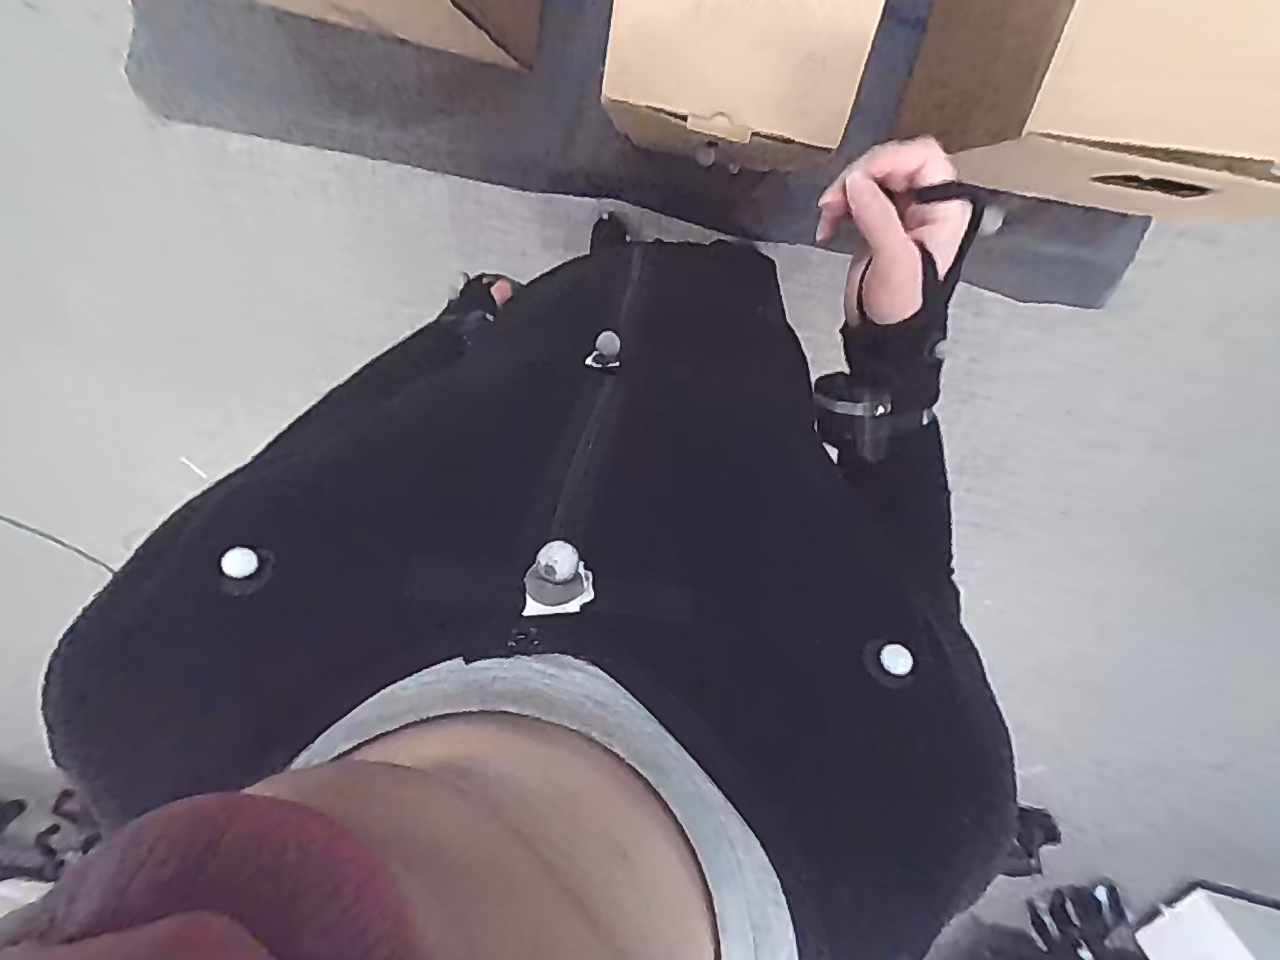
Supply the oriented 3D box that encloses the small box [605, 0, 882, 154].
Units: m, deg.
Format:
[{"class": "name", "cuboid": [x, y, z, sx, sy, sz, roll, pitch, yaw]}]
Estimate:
[{"class": "small box", "cuboid": [0.076, -0.357, 0.399, 0.168, 0.176, 0.179, 11, 119, -3]}]
